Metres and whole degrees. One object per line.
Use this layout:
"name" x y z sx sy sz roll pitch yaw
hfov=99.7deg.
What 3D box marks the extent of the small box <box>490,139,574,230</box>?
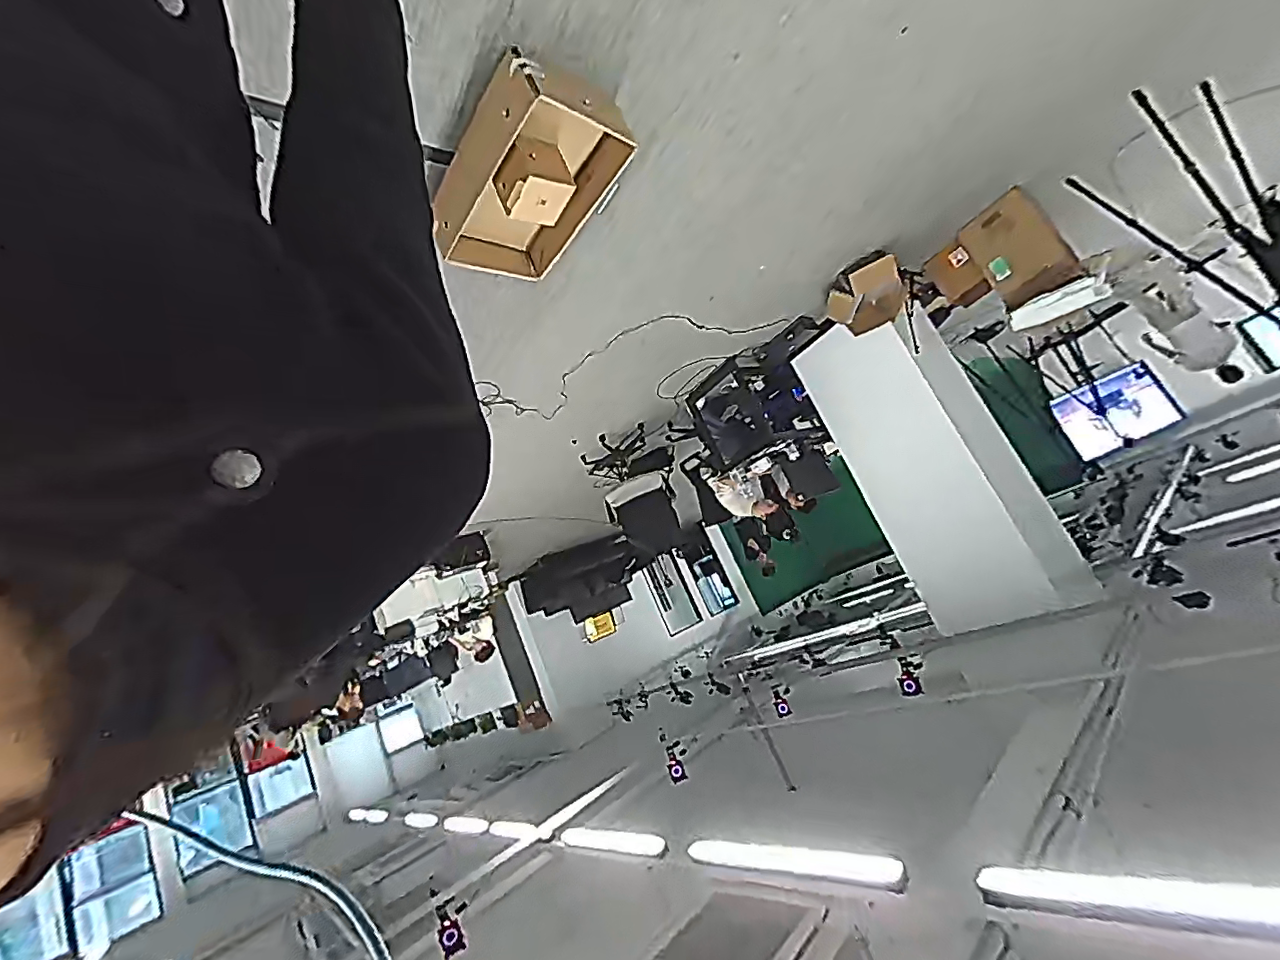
"small box" -0.342 -0.920 1.685 0.179 0.176 0.168 -12 163 -42
